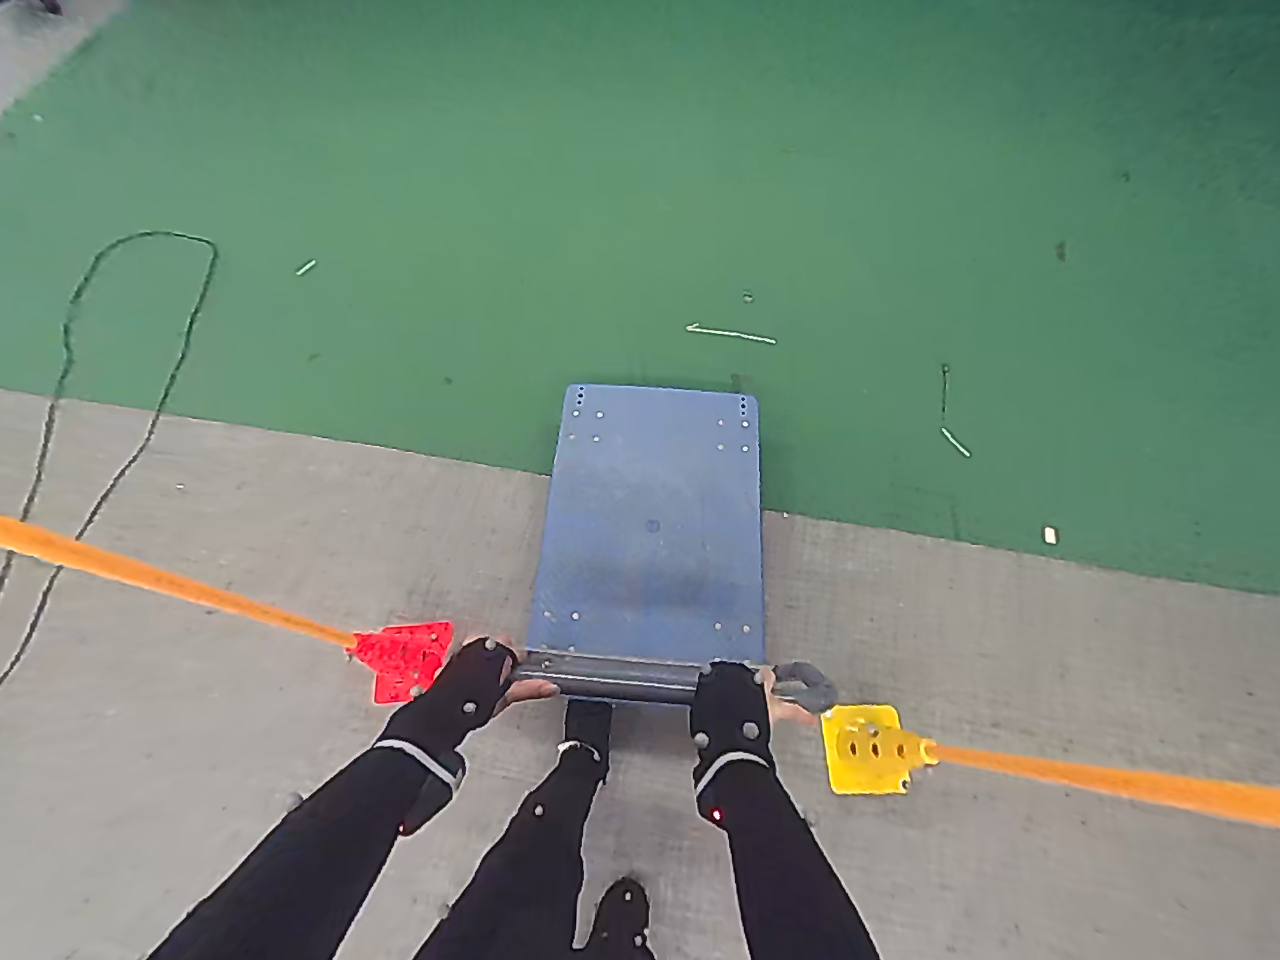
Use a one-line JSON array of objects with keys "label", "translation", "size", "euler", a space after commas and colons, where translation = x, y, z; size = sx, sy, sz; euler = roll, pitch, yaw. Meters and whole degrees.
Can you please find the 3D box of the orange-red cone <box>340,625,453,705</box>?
[{"label": "orange-red cone", "translation": [-0.608, 0.415, 1.285], "size": [0.199, 0.360, 0.198], "euler": [-4, 64, -1]}]
